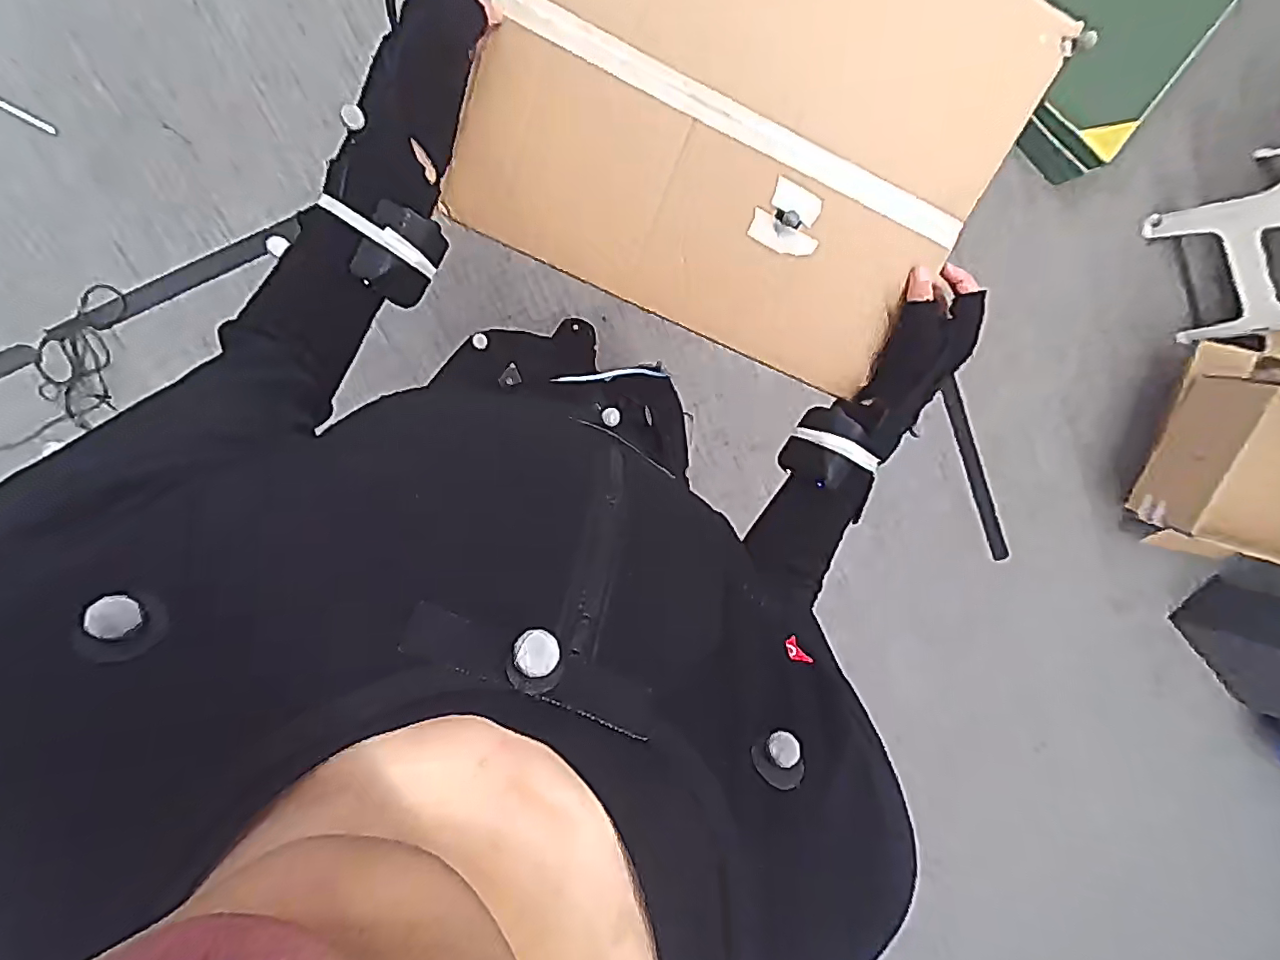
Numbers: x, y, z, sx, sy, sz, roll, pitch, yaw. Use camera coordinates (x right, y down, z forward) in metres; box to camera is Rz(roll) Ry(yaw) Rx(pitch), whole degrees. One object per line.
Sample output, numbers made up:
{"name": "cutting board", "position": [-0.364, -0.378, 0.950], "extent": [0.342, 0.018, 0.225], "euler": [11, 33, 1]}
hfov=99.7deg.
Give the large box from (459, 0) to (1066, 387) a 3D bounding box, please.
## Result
{"name": "large box", "position": [0.083, -0.344, 0.569], "extent": [0.408, 0.320, 0.320], "euler": [22, 112, -10]}
